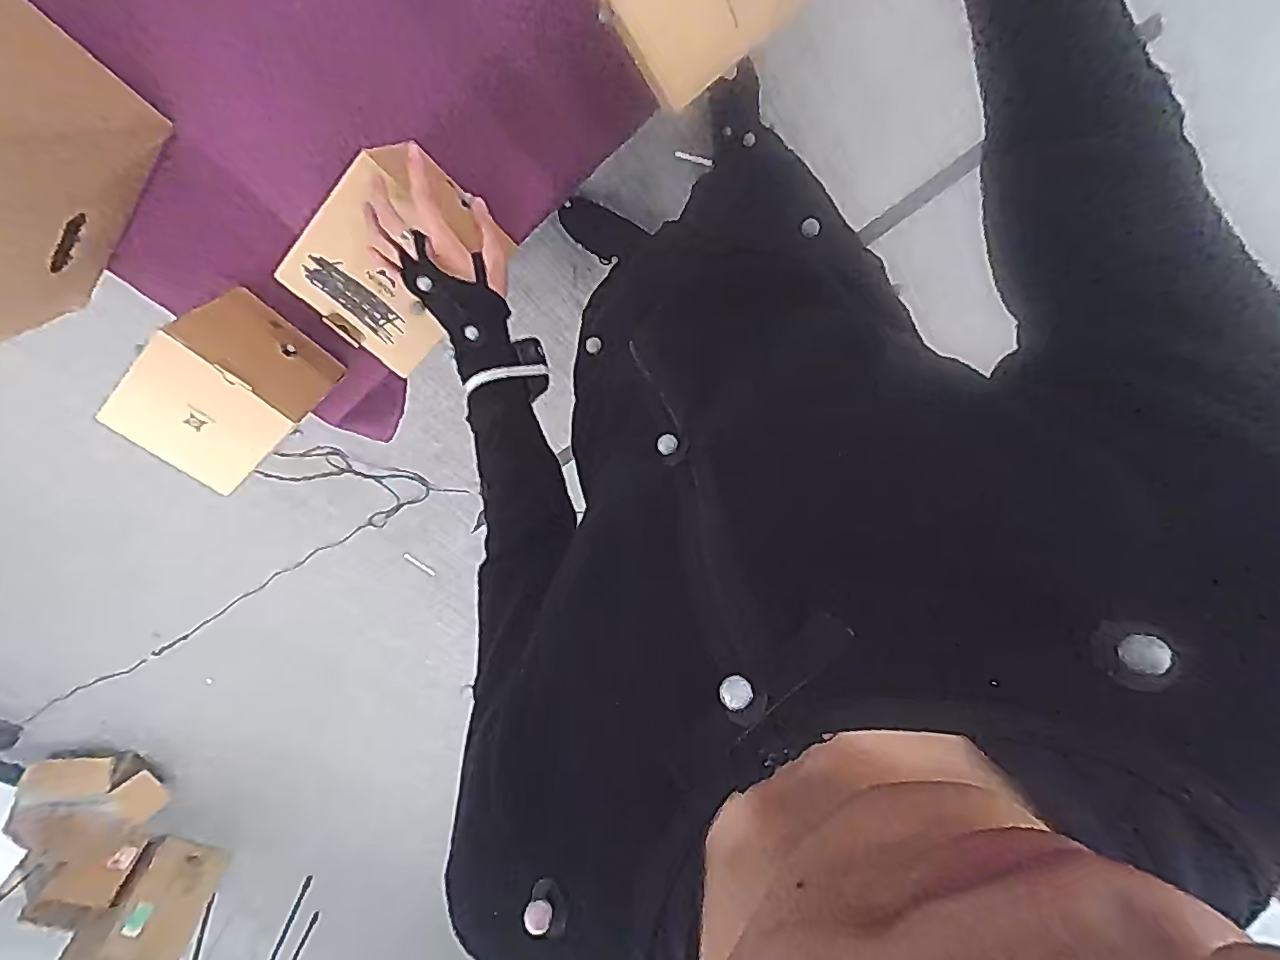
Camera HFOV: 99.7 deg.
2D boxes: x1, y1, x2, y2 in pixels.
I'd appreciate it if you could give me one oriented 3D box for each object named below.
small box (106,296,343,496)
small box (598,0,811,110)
[{"bbox_3d":[-0.548,-0.117,0.741,0.179,0.176,0.168,-37,119,19],"label":"small box"},{"bbox_3d":[0.046,-0.487,0.510,0.168,0.176,0.179,-32,121,19],"label":"small box"}]
